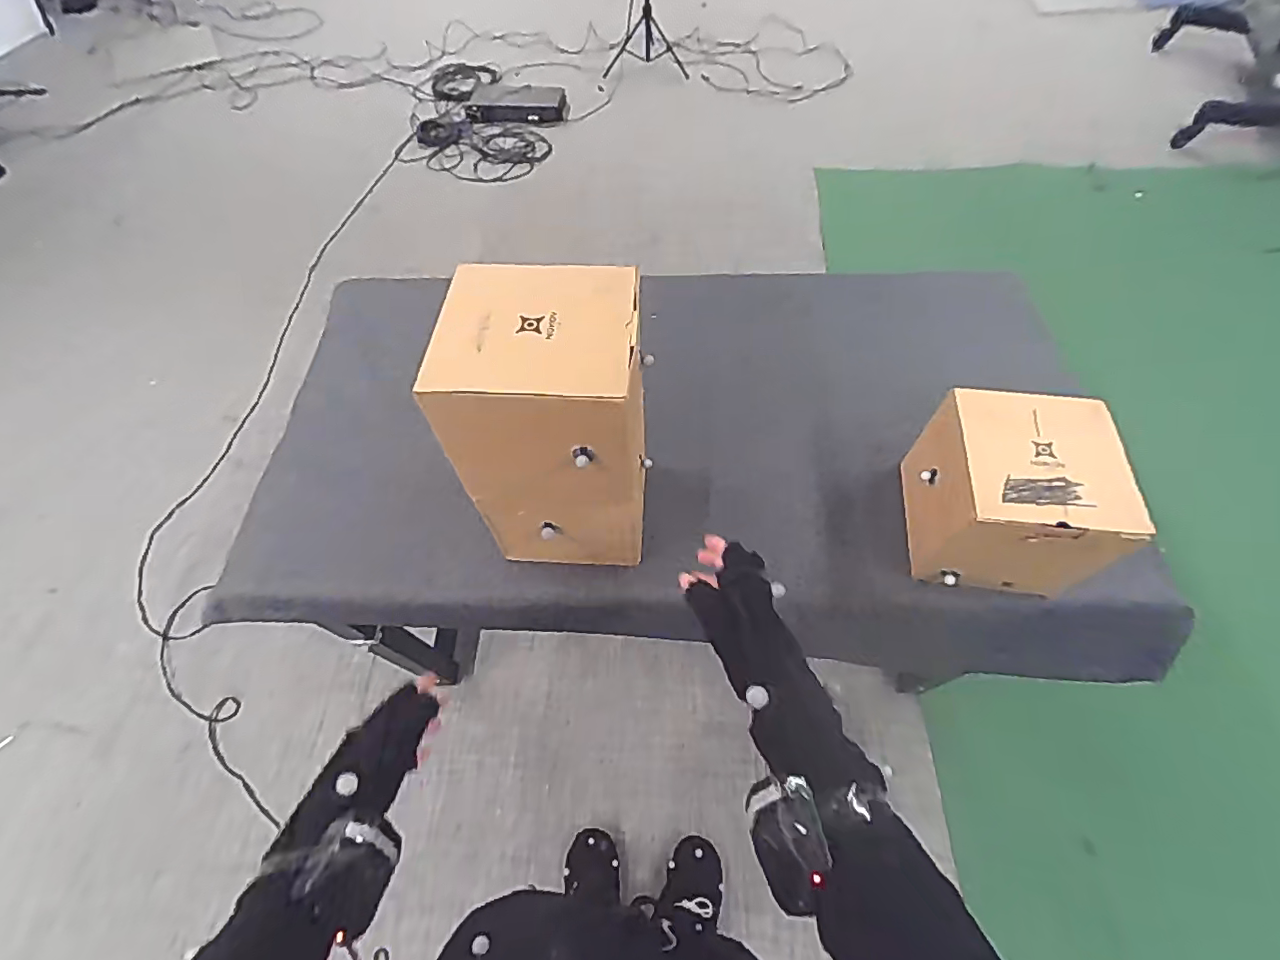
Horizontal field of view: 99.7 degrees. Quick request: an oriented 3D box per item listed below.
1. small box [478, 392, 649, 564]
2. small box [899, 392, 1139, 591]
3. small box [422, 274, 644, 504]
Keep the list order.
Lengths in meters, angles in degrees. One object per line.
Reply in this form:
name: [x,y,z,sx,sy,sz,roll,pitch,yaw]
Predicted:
small box: [-0.082,-0.001,0.689,0.179,0.176,0.168,2,58,4]
small box: [0.431,0.019,0.654,0.168,0.176,0.179,7,58,7]
small box: [-0.087,-0.086,0.550,0.179,0.176,0.168,1,56,3]
